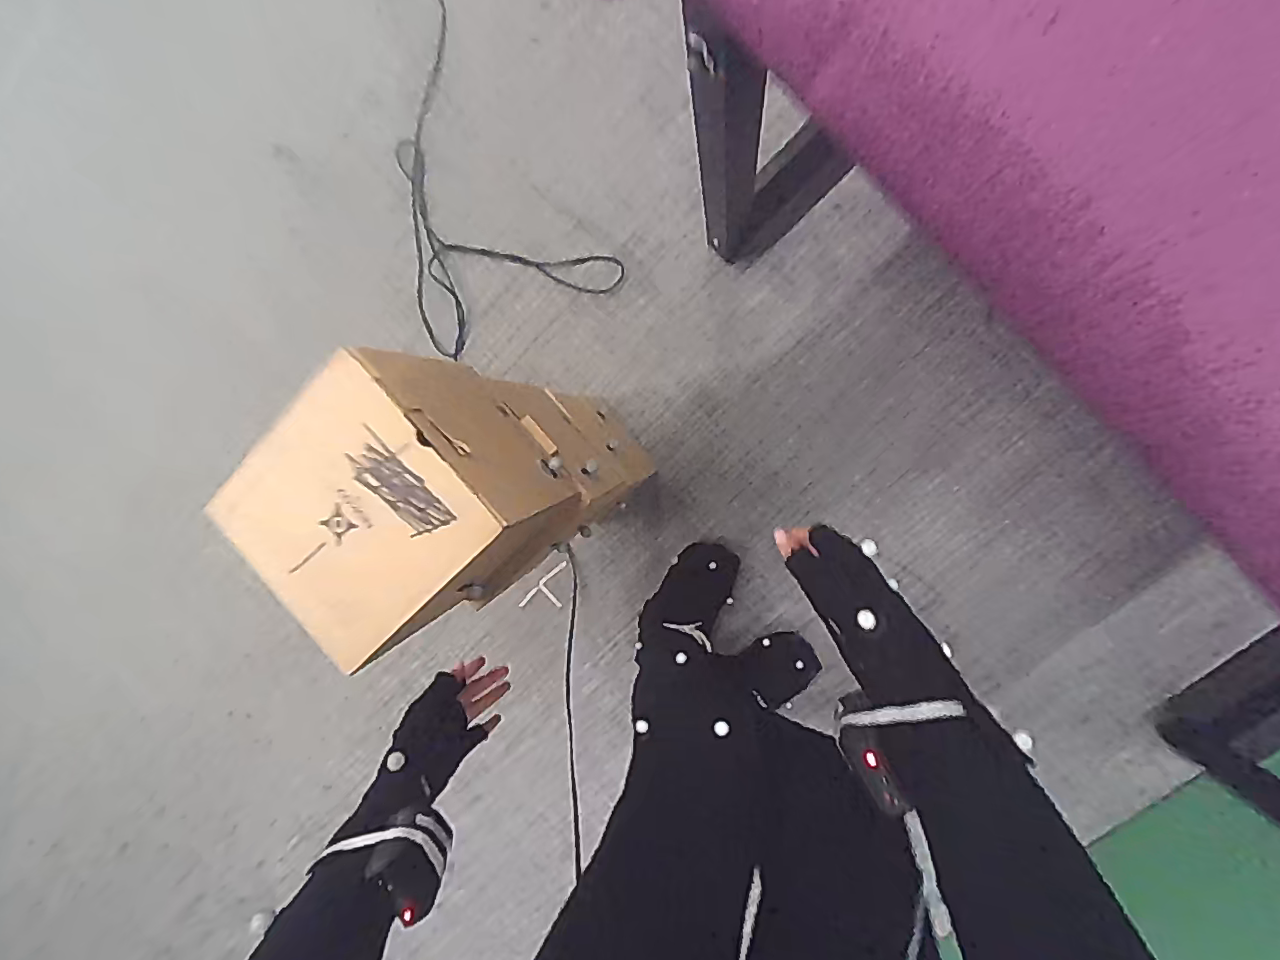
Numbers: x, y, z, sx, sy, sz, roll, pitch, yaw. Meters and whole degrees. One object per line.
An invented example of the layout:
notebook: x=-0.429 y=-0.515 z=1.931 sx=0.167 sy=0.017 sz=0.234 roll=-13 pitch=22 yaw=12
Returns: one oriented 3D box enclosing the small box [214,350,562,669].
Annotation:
small box: x=-0.187 y=0.015 z=0.458 sx=0.179 sy=0.176 sz=0.168 roll=-40 pitch=89 yaw=14
